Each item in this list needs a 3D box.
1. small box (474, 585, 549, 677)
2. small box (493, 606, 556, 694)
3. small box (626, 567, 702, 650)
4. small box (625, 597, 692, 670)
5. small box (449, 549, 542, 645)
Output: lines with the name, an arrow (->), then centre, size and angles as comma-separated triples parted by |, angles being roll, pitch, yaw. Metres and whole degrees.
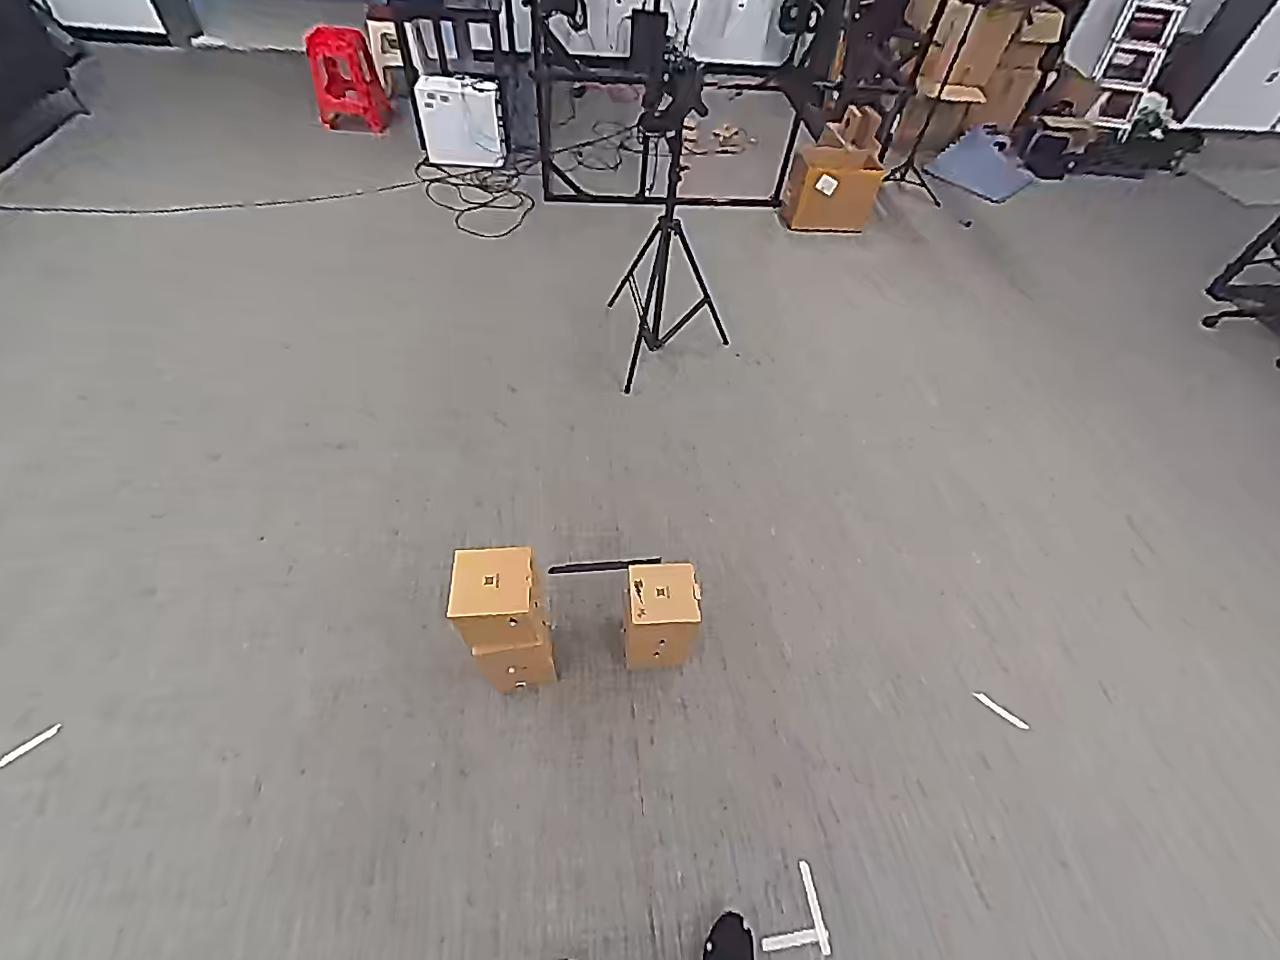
small box -> -0.326, 0.384, 1.385 | 0.168, 0.176, 0.179 | -6, 54, -8
small box -> -0.330, 0.478, 1.518 | 0.168, 0.176, 0.179 | -7, 54, -10
small box -> 0.057, 0.346, 1.446 | 0.179, 0.176, 0.168 | 0, 52, -6
small box -> 0.046, 0.446, 1.576 | 0.179, 0.176, 0.168 | -1, 53, -6
small box -> -0.328, 0.277, 1.261 | 0.179, 0.176, 0.168 | -2, 53, -6
